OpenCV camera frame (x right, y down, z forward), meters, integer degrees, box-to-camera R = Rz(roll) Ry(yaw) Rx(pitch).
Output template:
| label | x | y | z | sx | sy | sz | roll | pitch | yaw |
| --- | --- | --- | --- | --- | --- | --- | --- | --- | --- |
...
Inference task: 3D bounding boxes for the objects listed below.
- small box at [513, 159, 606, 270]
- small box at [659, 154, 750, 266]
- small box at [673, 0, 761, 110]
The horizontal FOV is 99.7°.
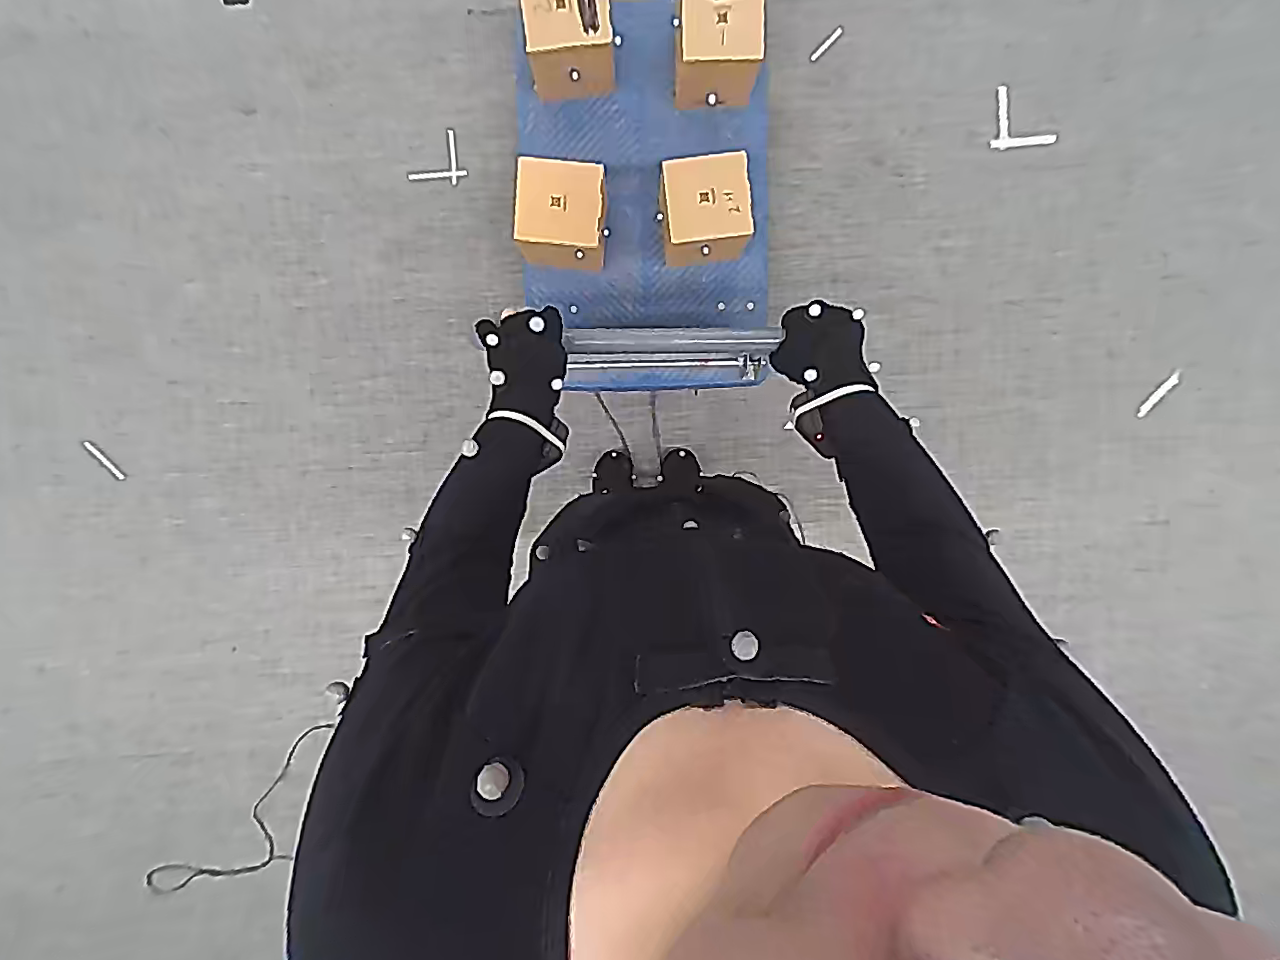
| label | x | y | z | sx | sy | sz | roll | pitch | yaw |
| --- | --- | --- | --- | --- | --- | --- | --- | --- | --- |
| small box | -0.171 | -0.576 | 1.192 | 0.179 | 0.176 | 0.168 | 4 | 95 | -2 |
| small box | 0.135 | -0.586 | 1.194 | 0.179 | 0.176 | 0.168 | -7 | 95 | 0 |
| small box | 0.160 | -0.936 | 1.163 | 0.168 | 0.176 | 0.179 | -1 | 96 | 0 |
